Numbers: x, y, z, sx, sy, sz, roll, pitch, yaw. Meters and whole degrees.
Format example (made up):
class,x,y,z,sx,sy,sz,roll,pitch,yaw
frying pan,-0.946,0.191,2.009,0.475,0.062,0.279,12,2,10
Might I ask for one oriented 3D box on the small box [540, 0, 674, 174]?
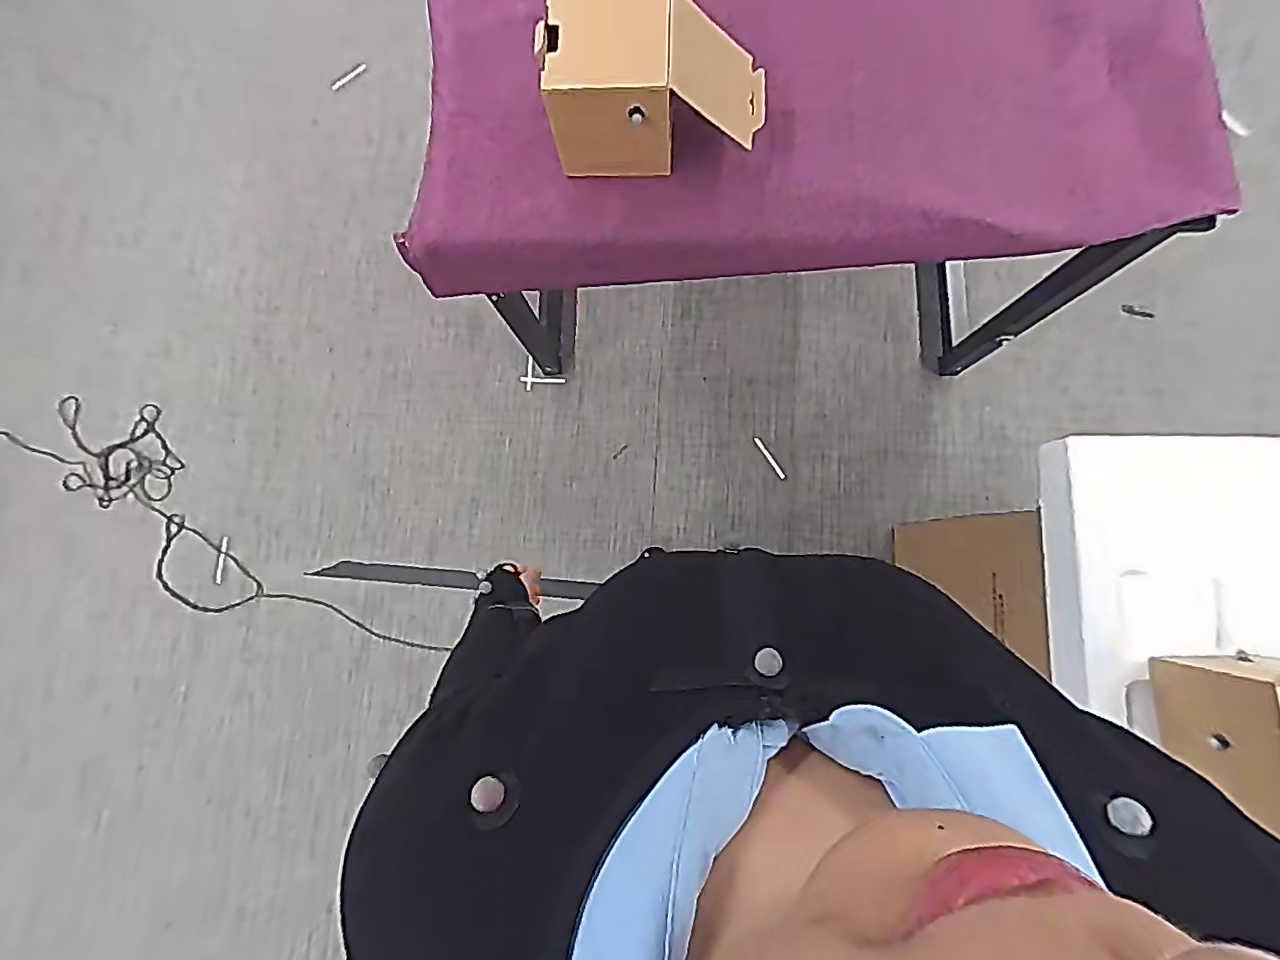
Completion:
class,x,y,z,sx,sy,sz,roll,pitch,yaw
small box,-0.040,-0.589,0.812,0.179,0.176,0.168,2,81,5
